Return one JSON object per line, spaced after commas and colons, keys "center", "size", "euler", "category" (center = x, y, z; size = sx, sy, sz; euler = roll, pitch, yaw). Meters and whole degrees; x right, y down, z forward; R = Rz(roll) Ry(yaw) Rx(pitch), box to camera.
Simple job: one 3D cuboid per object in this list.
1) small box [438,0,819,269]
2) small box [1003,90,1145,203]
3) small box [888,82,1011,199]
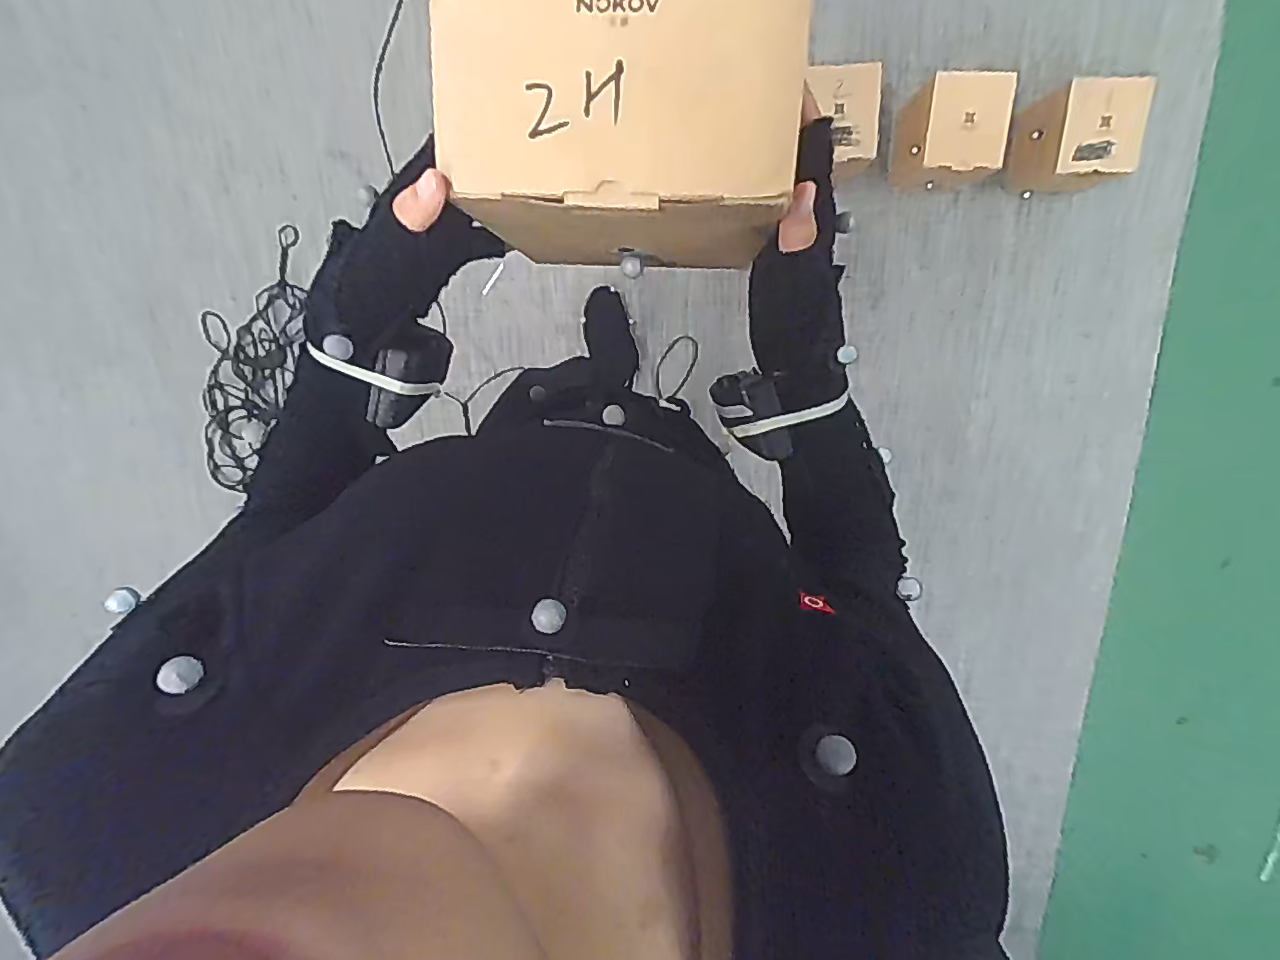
{"center": [0.000, -0.231, 0.307], "size": [0.168, 0.176, 0.179], "euler": [4, 101, 4], "category": "small box"}
{"center": [0.938, -0.723, 1.189], "size": [0.168, 0.176, 0.179], "euler": [1, 103, 1], "category": "small box"}
{"center": [0.670, -0.740, 1.192], "size": [0.168, 0.176, 0.179], "euler": [1, 104, 1], "category": "small box"}
